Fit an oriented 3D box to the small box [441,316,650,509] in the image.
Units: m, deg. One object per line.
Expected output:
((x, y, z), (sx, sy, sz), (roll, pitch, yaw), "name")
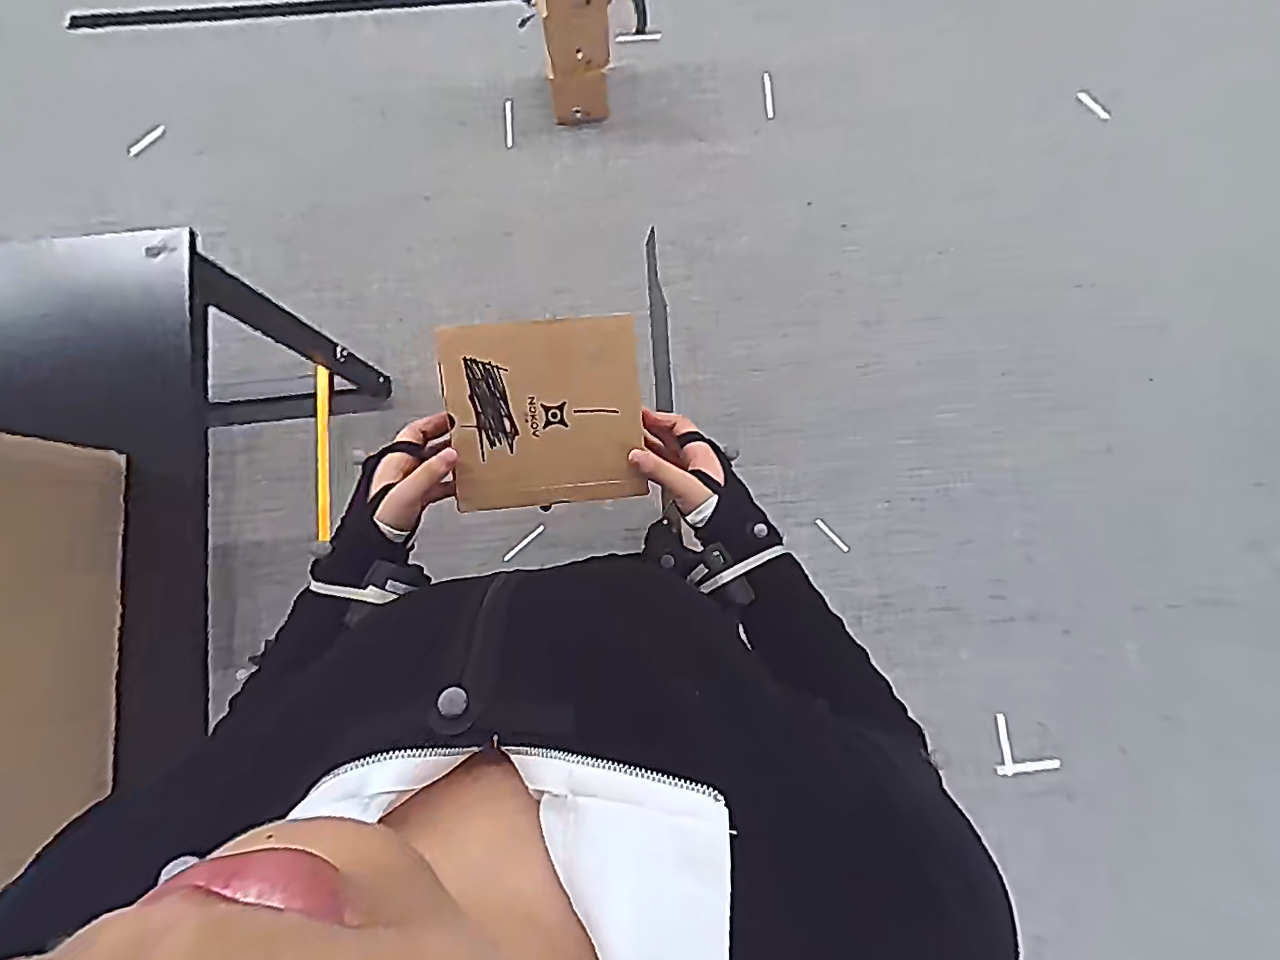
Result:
((-0.086, -0.070, 0.558), (0.179, 0.176, 0.168), (-5, 100, -4), "small box")

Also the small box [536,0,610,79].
((-0.179, -1.210, 1.418), (0.168, 0.176, 0.179), (-13, 83, -1), "small box")

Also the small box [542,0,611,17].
((-0.166, -1.227, 1.255), (0.168, 0.176, 0.179), (-14, 84, -1), "small box")

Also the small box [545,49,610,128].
((-0.182, -1.177, 1.580), (0.168, 0.176, 0.179), (-8, 85, 0), "small box")
